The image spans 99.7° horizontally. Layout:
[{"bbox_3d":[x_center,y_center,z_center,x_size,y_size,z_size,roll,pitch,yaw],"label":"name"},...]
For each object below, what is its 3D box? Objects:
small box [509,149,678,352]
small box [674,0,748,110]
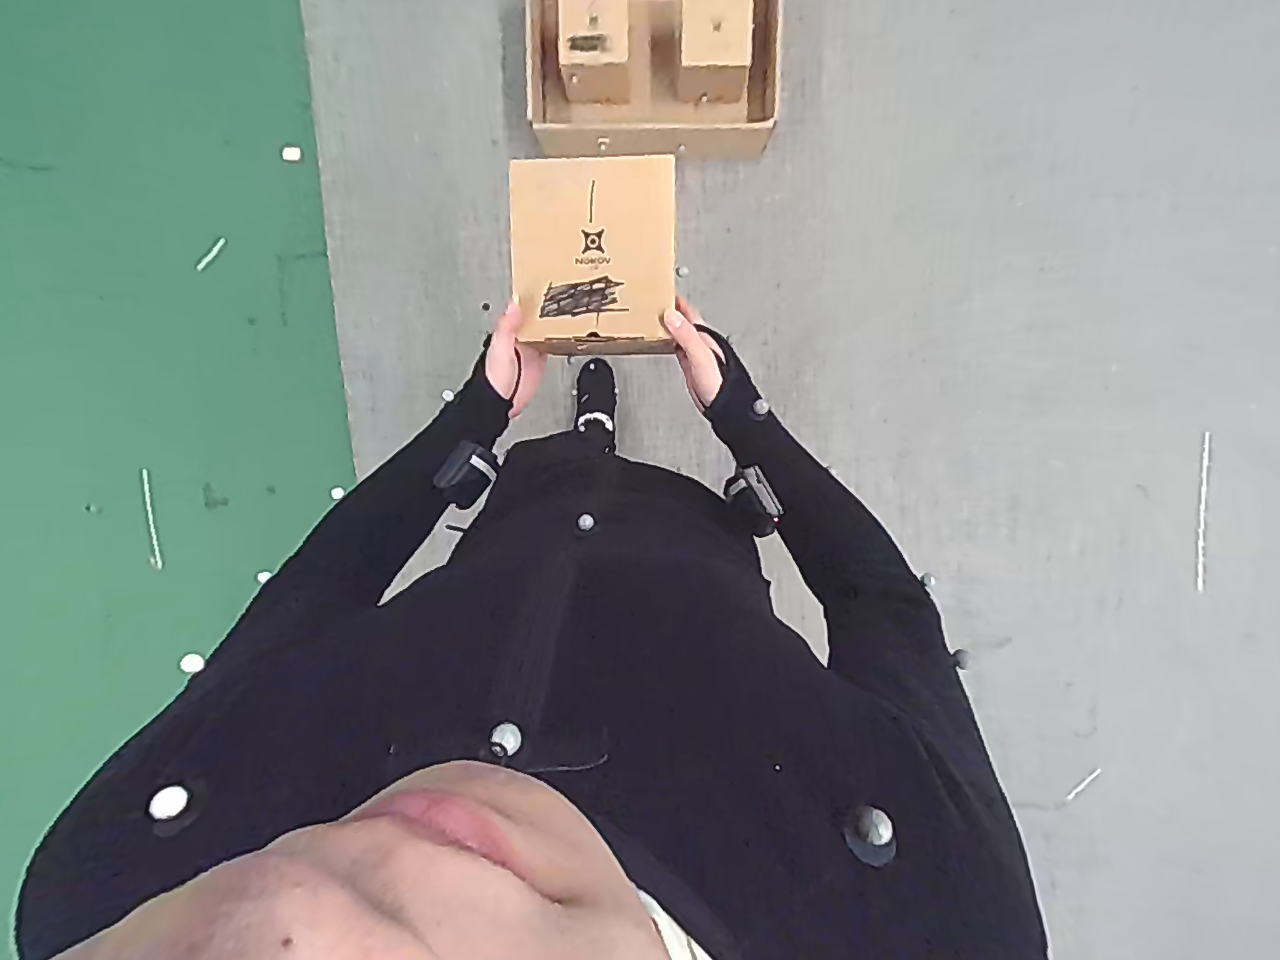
[{"bbox_3d":[-0.041,-0.239,0.607,0.168,0.176,0.179,0,96,3],"label":"small box"},{"bbox_3d":[0.170,-1.064,1.347,0.168,0.176,0.179,1,97,1],"label":"small box"}]
